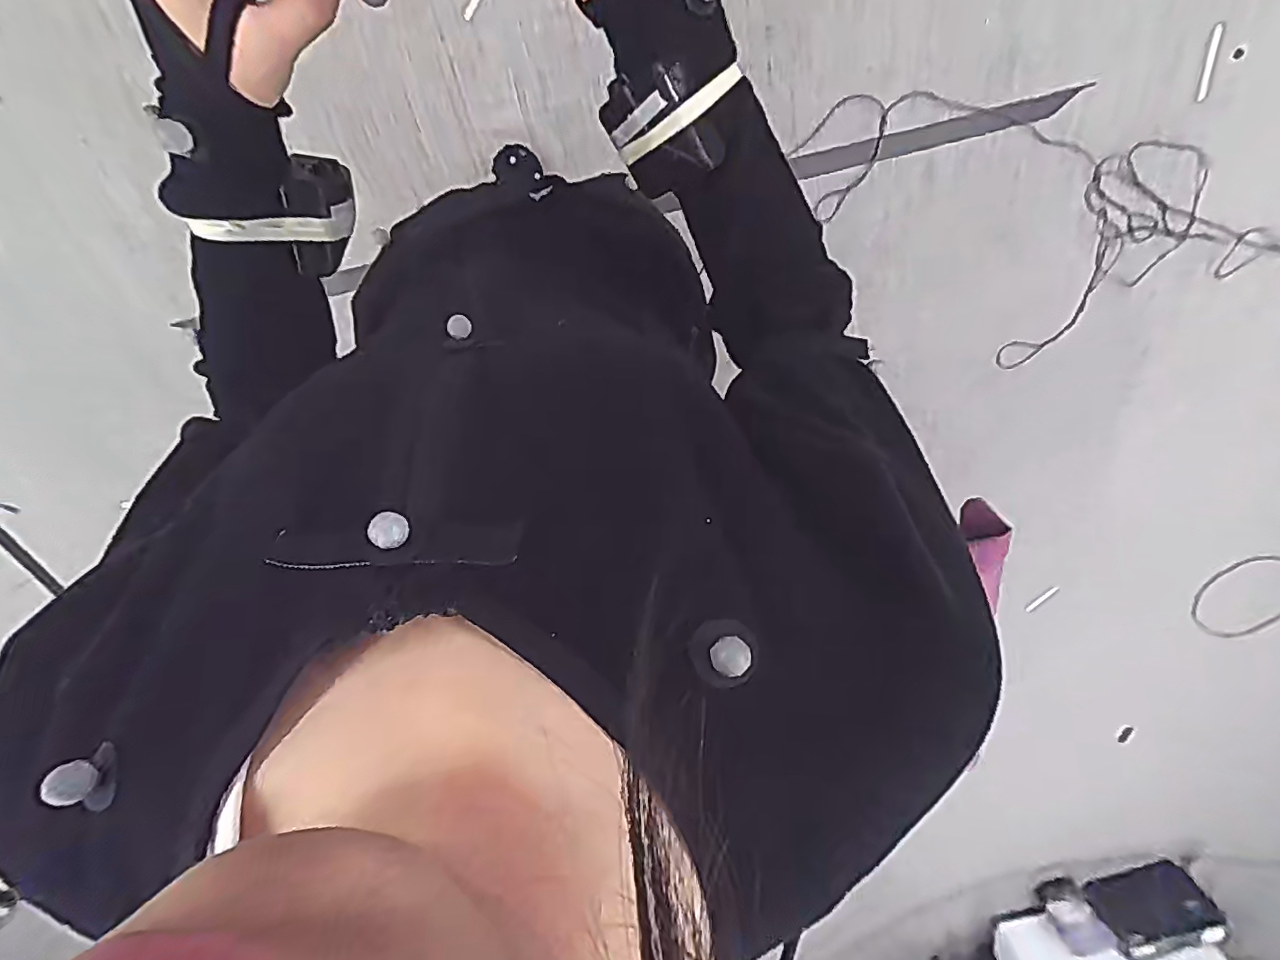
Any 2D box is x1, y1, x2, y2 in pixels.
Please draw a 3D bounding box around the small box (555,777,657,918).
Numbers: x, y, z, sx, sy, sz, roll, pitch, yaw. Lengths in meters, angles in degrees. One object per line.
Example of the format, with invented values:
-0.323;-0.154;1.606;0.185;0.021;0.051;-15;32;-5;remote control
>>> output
-0.068;0.747;1.106;0.168;0.176;0.179;-14;118;1;small box
